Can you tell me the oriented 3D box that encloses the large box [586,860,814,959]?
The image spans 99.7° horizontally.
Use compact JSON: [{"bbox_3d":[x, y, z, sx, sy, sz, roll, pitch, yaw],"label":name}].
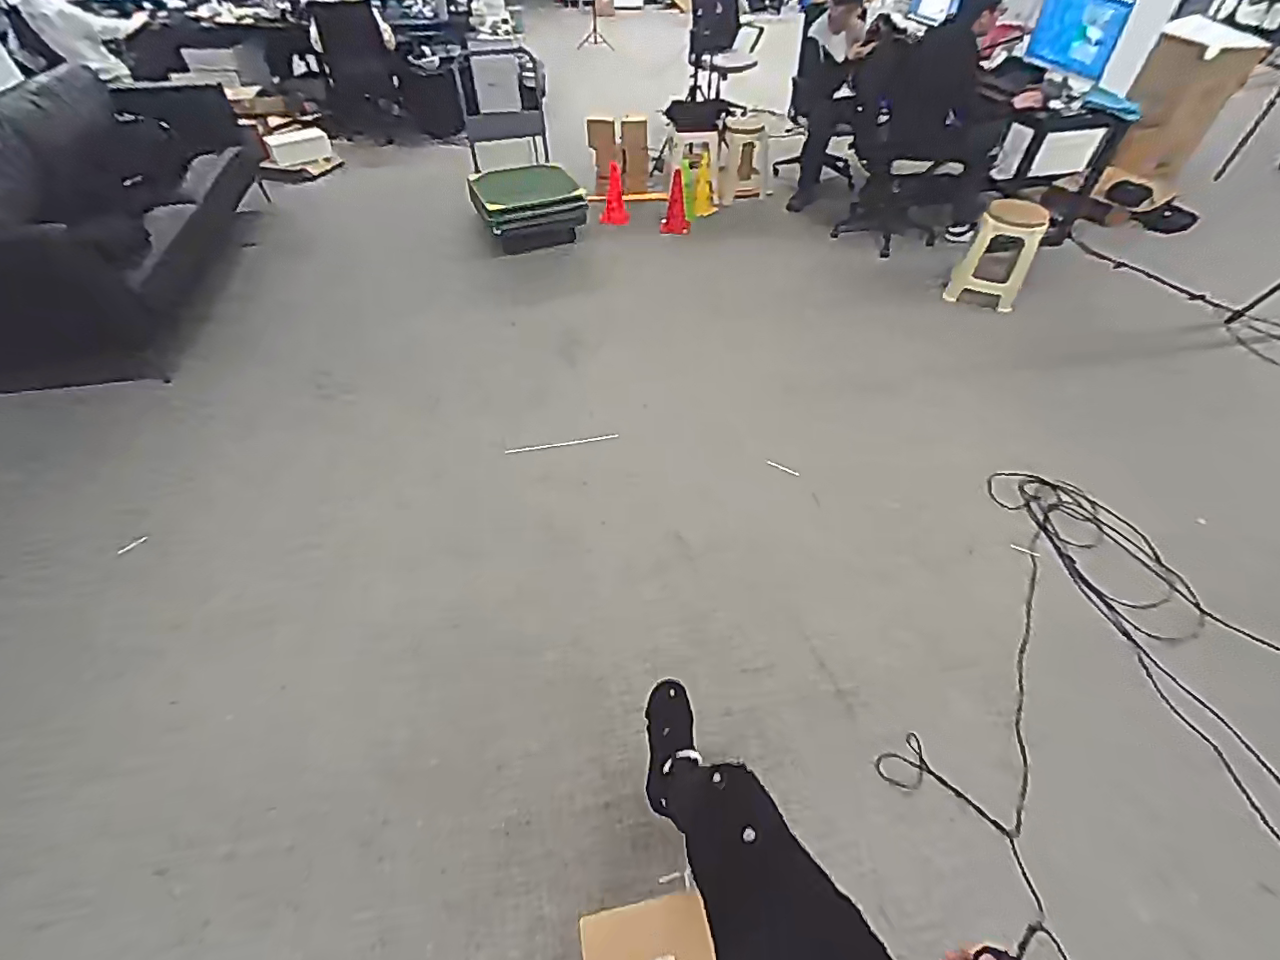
[{"bbox_3d":[0.127,1.002,1.063,0.408,0.320,0.320,-10,48,-8],"label":"large box"}]
